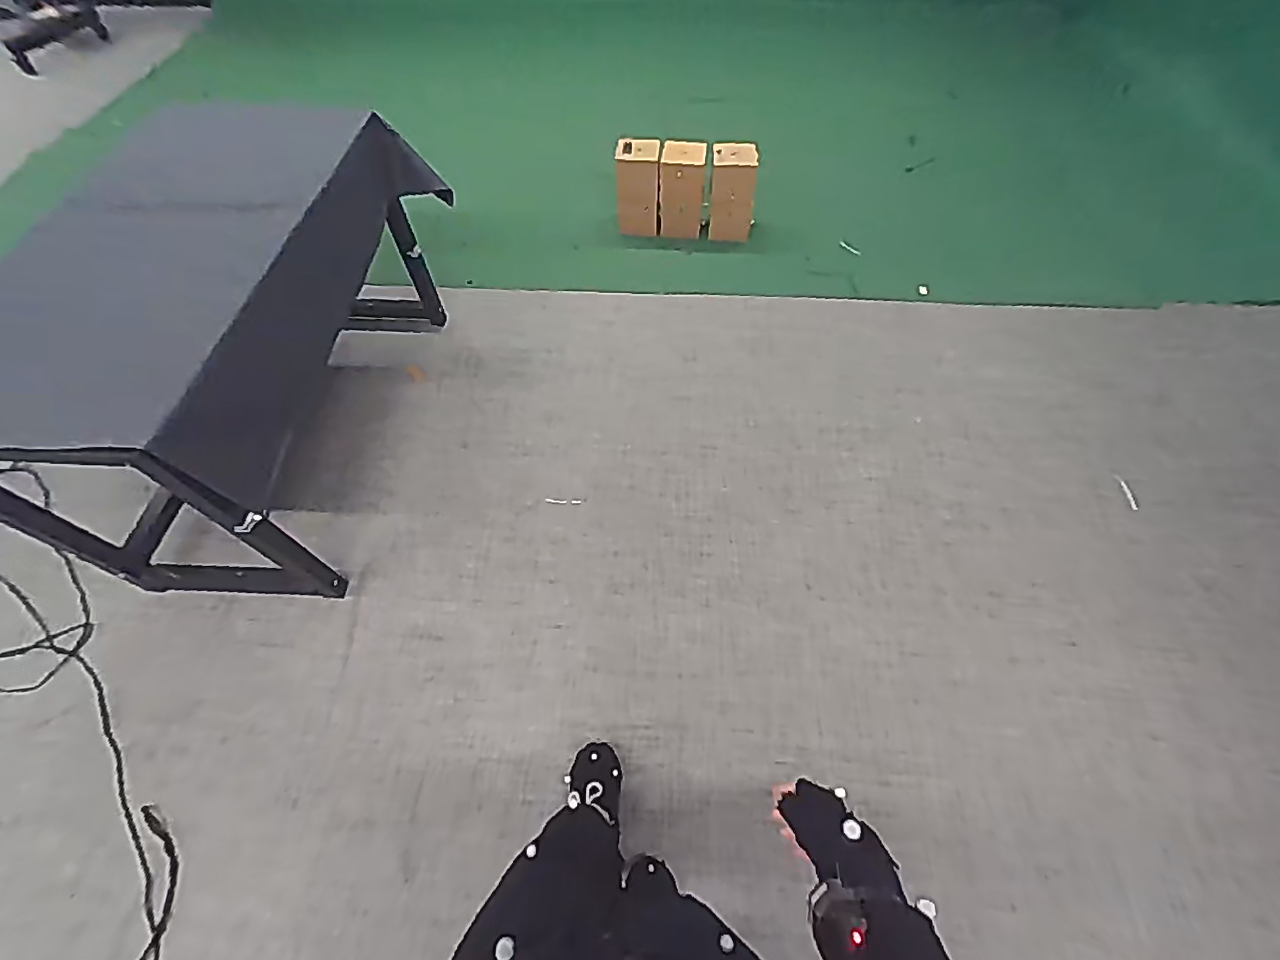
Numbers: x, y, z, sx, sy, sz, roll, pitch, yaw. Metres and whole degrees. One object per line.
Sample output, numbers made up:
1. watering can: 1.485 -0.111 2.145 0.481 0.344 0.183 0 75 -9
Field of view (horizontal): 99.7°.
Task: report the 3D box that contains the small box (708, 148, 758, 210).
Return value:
1. small box: 0.380 -1.240 2.234 0.179 0.176 0.168 3 57 2
